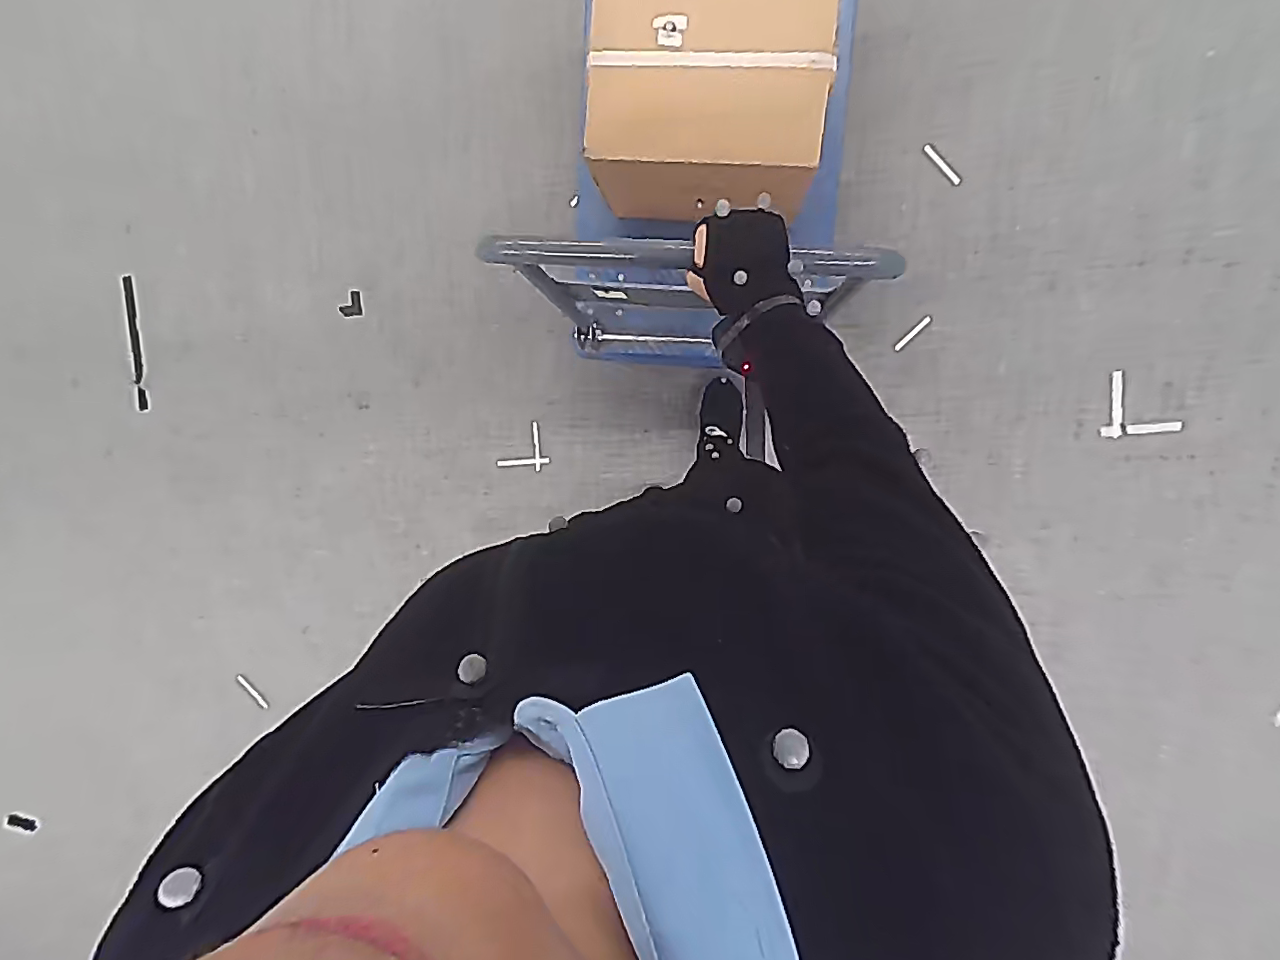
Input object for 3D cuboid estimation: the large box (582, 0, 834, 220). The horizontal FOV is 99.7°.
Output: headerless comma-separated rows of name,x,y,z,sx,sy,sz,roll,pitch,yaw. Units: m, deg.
large box,0.129,-0.712,1.037,0.408,0.320,0.320,6,97,8
